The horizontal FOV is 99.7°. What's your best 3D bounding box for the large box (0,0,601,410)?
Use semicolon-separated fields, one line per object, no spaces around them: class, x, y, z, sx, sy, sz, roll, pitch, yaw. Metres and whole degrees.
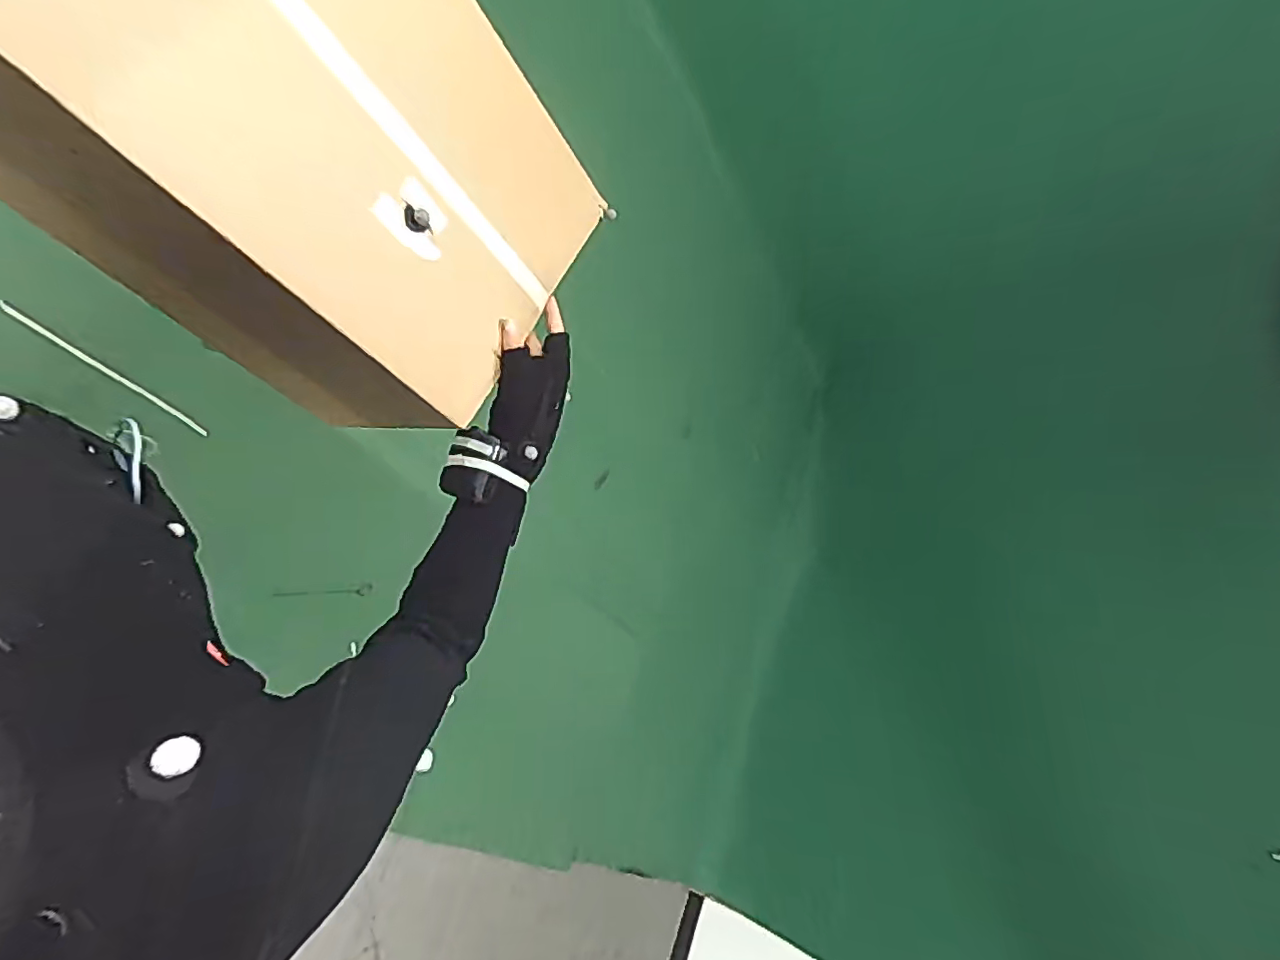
large box;-0.320;-0.307;0.518;0.408;0.320;0.320;46;62;-41
